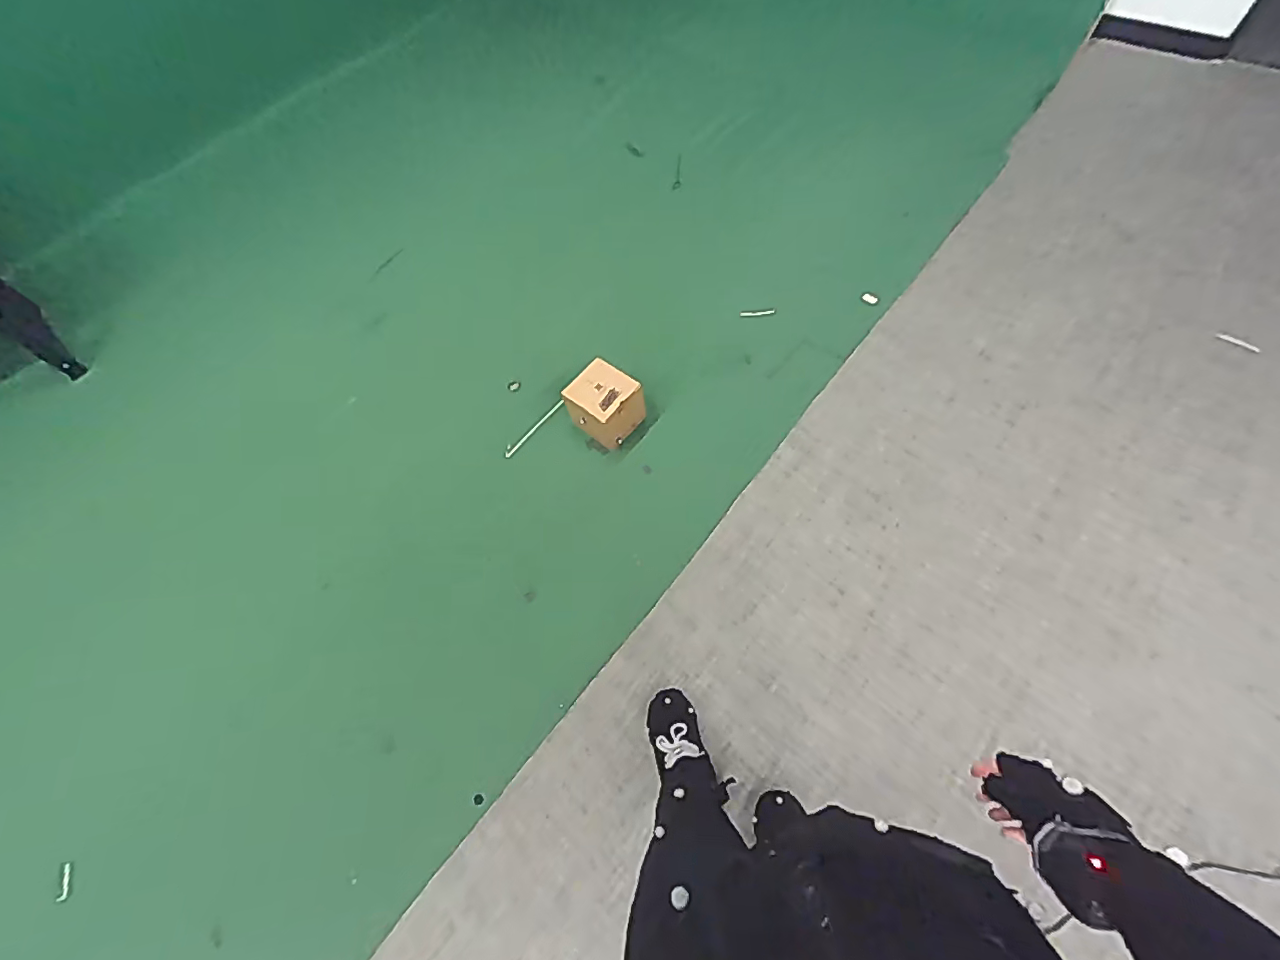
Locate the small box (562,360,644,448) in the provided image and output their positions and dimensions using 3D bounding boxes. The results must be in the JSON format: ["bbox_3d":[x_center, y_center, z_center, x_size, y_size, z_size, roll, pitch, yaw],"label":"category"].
[{"bbox_3d":[-0.105,-0.222,1.638,0.179,0.176,0.168,35,72,22],"label":"small box"}]
